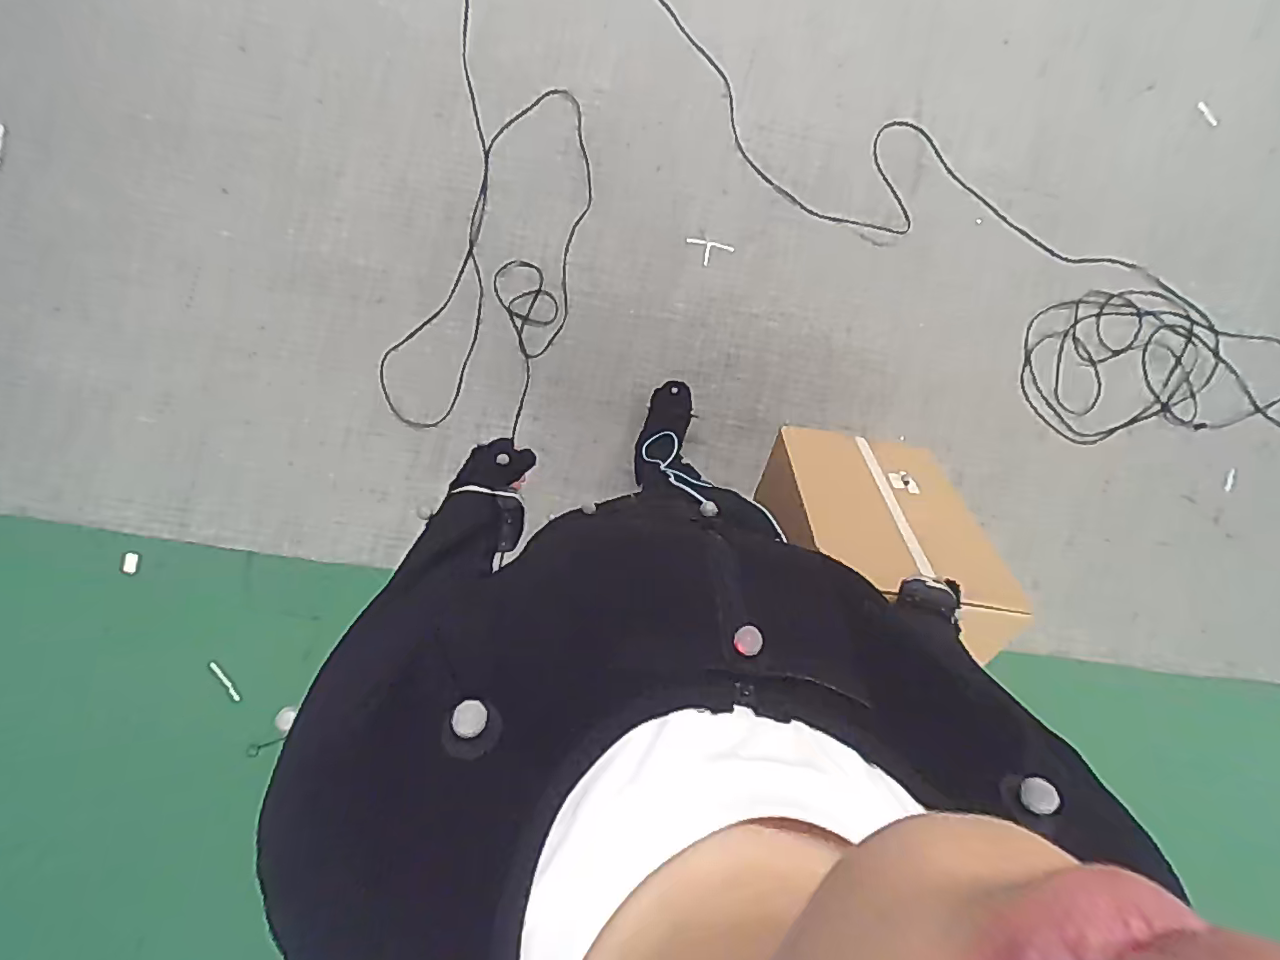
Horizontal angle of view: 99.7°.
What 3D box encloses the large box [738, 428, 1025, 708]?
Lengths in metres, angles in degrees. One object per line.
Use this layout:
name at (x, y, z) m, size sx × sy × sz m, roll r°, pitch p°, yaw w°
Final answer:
large box at (0.391, 0.156, 1.014) m, size 0.320 × 0.408 × 0.320 m, roll 9°, pitch 128°, yaw -5°
